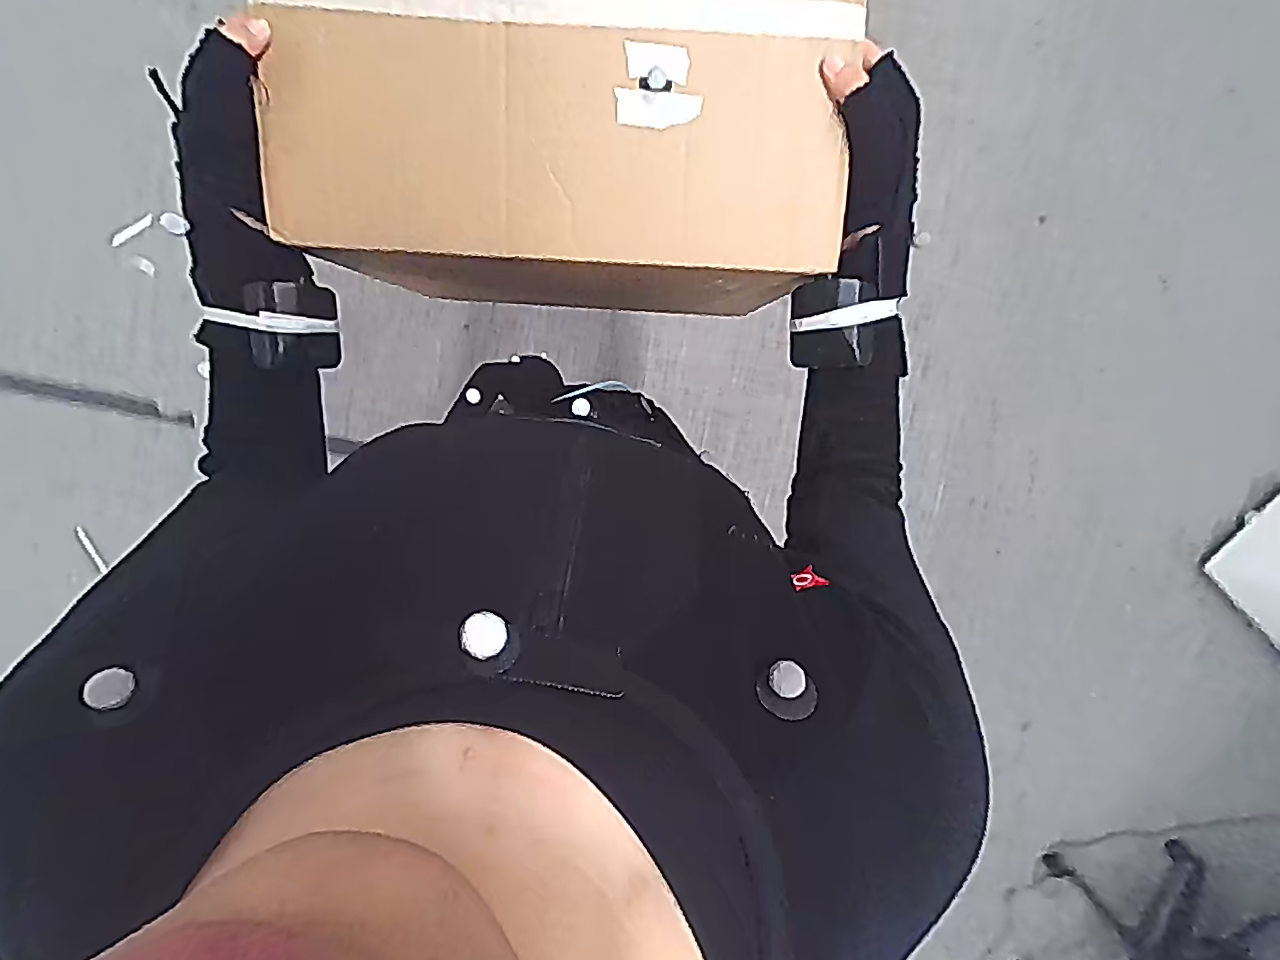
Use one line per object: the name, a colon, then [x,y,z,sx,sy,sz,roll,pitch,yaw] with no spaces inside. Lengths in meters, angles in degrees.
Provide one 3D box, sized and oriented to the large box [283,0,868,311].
large box: [-0.047,-0.347,0.516,0.408,0.320,0.320,3,102,-2]
